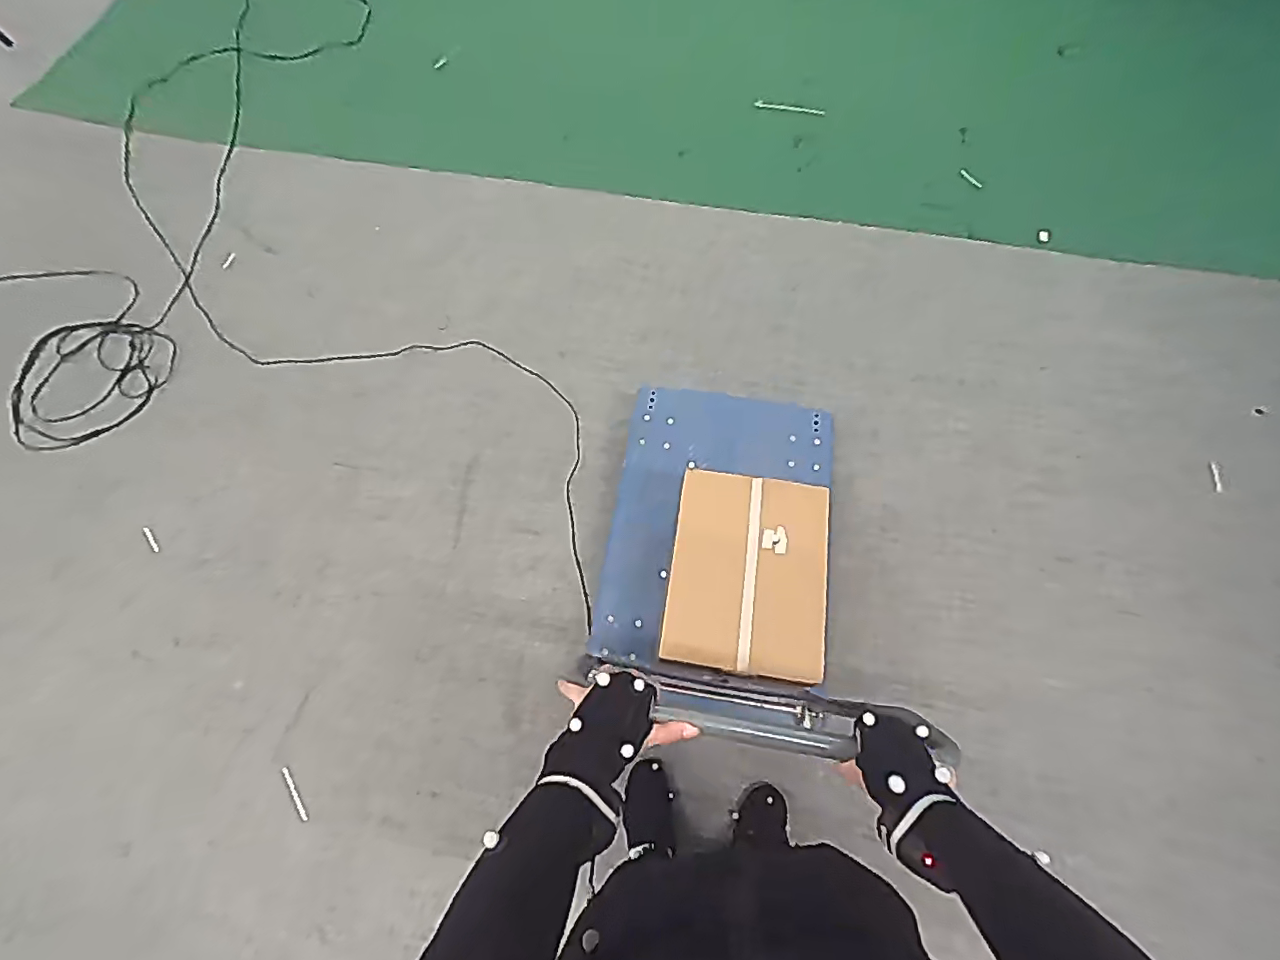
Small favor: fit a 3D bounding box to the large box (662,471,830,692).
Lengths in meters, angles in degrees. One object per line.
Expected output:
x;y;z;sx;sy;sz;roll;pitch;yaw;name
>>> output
0.225;0.240;1.219;0.320;0.320;0.408;8;66;3;large box
